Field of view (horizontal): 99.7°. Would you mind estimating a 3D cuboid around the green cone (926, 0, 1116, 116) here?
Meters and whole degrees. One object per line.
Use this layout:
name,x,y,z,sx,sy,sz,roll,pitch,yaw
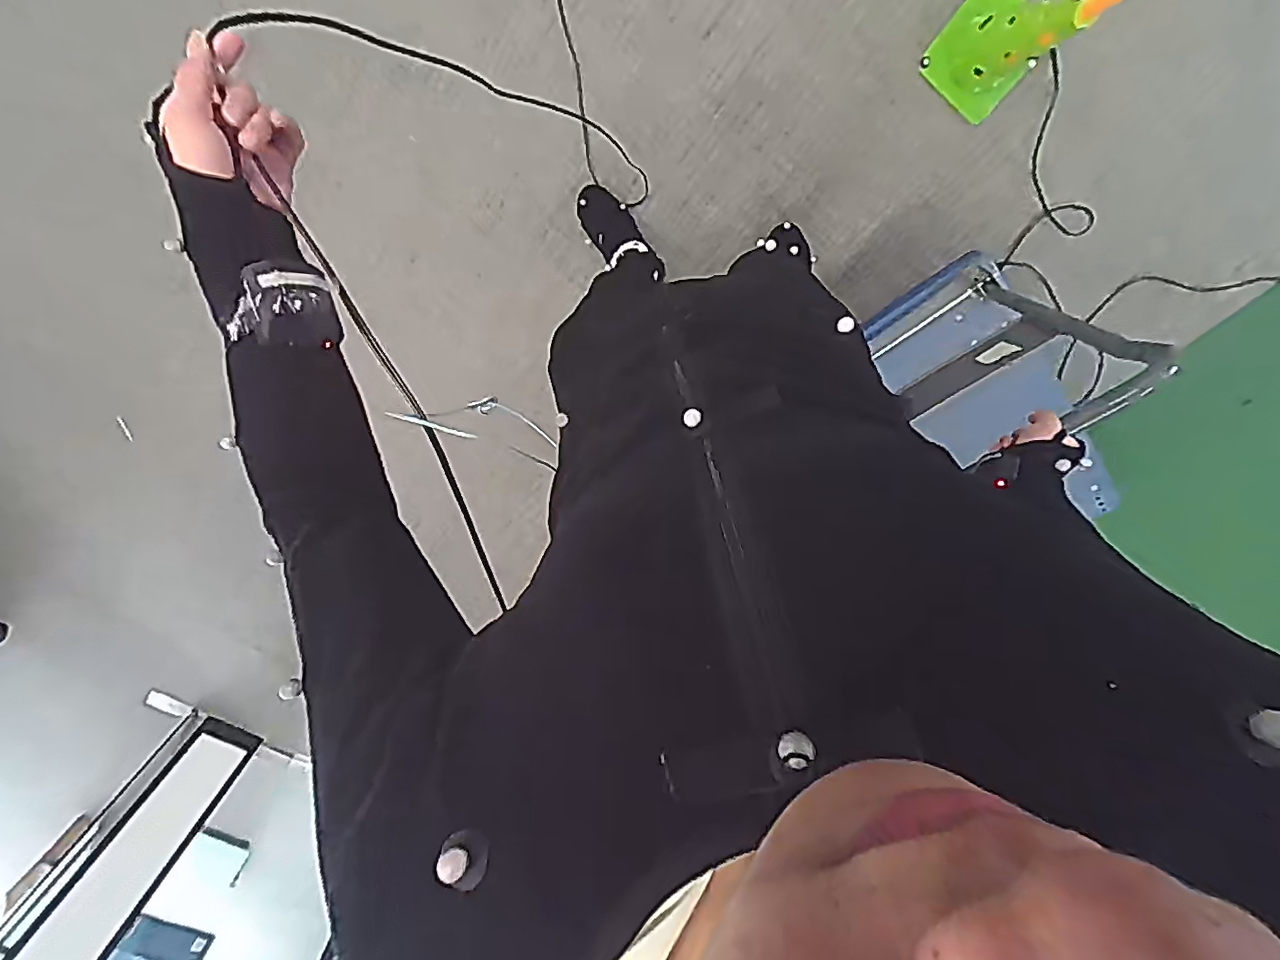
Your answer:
green cone,0.725,-0.828,0.984,0.200,0.368,0.202,32,117,-14
